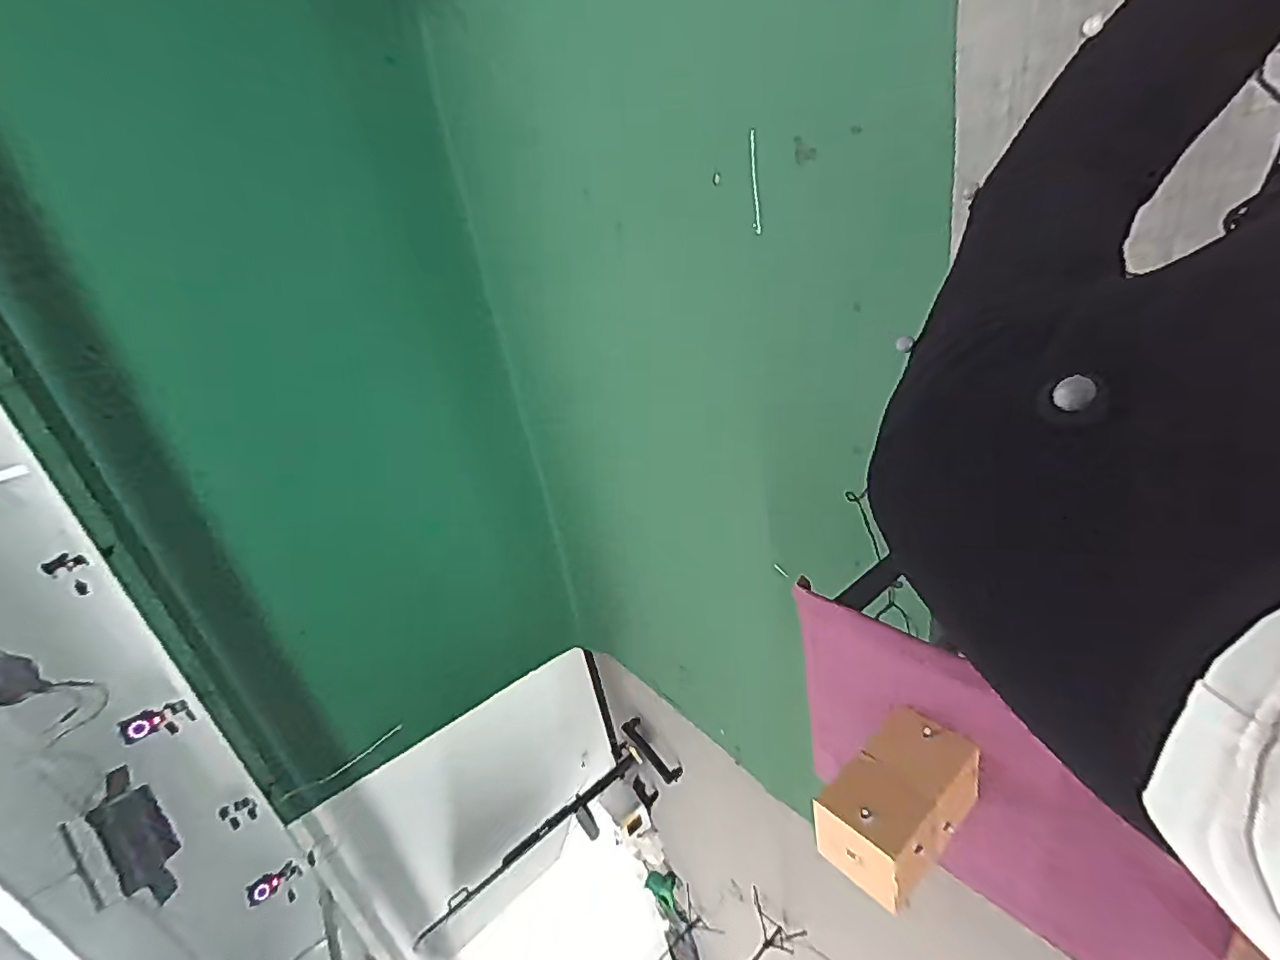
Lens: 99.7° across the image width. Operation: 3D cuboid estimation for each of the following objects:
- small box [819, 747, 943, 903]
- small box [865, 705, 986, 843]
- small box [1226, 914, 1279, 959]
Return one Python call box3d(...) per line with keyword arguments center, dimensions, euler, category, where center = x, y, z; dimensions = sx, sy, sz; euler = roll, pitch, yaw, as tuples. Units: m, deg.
box3d(center=(0.494, 0.691, 1.106), dimensions=(0.179, 0.176, 0.168), euler=(20, 127, 51), category="small box")
box3d(center=(0.623, 0.629, 1.187), dimensions=(0.179, 0.176, 0.168), euler=(18, 127, 52), category="small box")
box3d(center=(0.955, 0.773, 0.766), dimensions=(0.179, 0.176, 0.168), euler=(21, 129, 51), category="small box")
